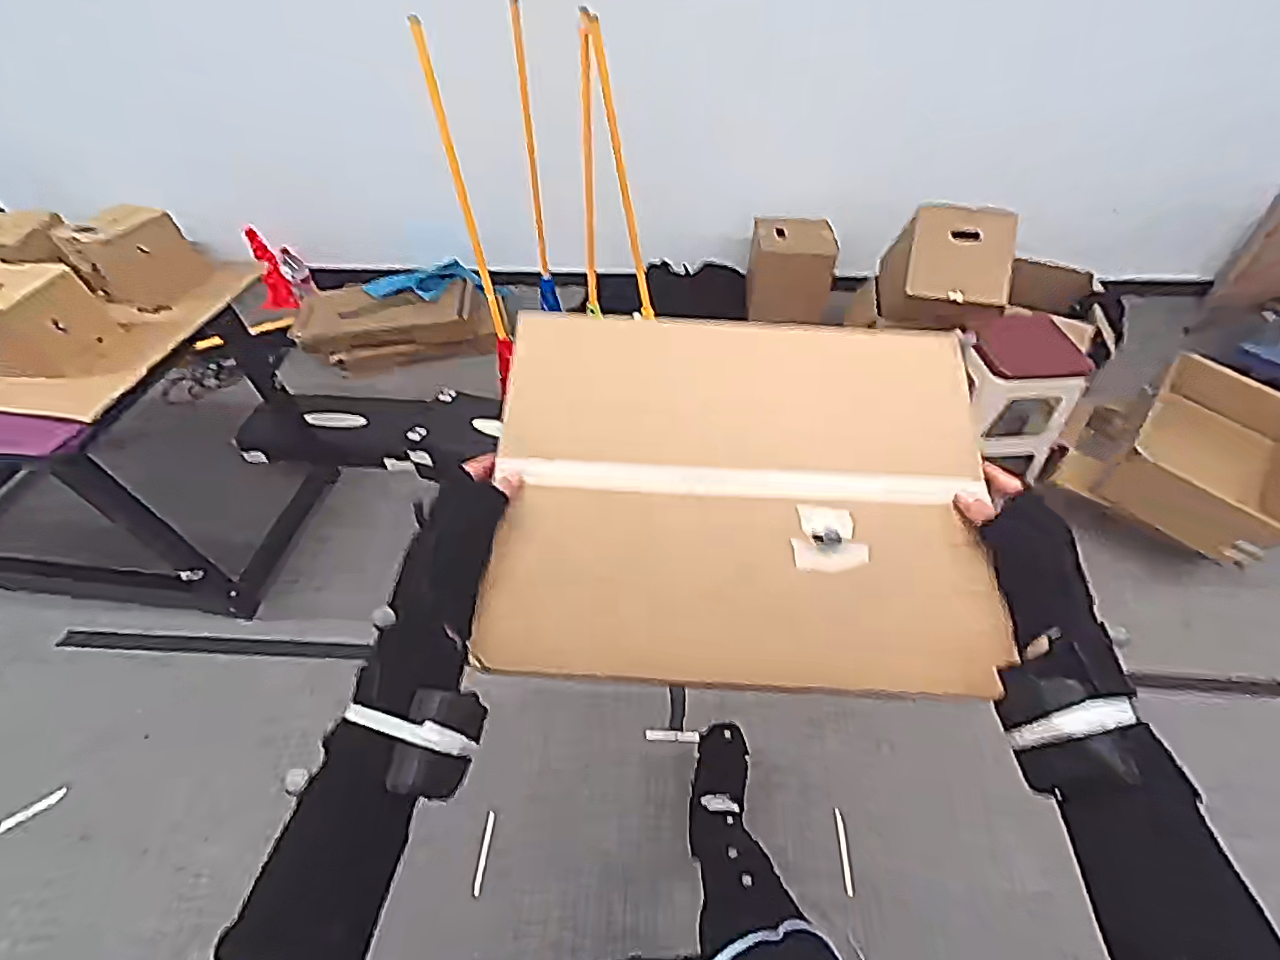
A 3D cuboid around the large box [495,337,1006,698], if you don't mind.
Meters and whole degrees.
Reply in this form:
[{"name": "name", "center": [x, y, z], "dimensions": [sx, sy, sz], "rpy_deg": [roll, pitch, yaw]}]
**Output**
[{"name": "large box", "center": [0.086, 0.068, 0.604], "dimensions": [0.408, 0.320, 0.320], "rpy_deg": [4, 70, 0]}]
